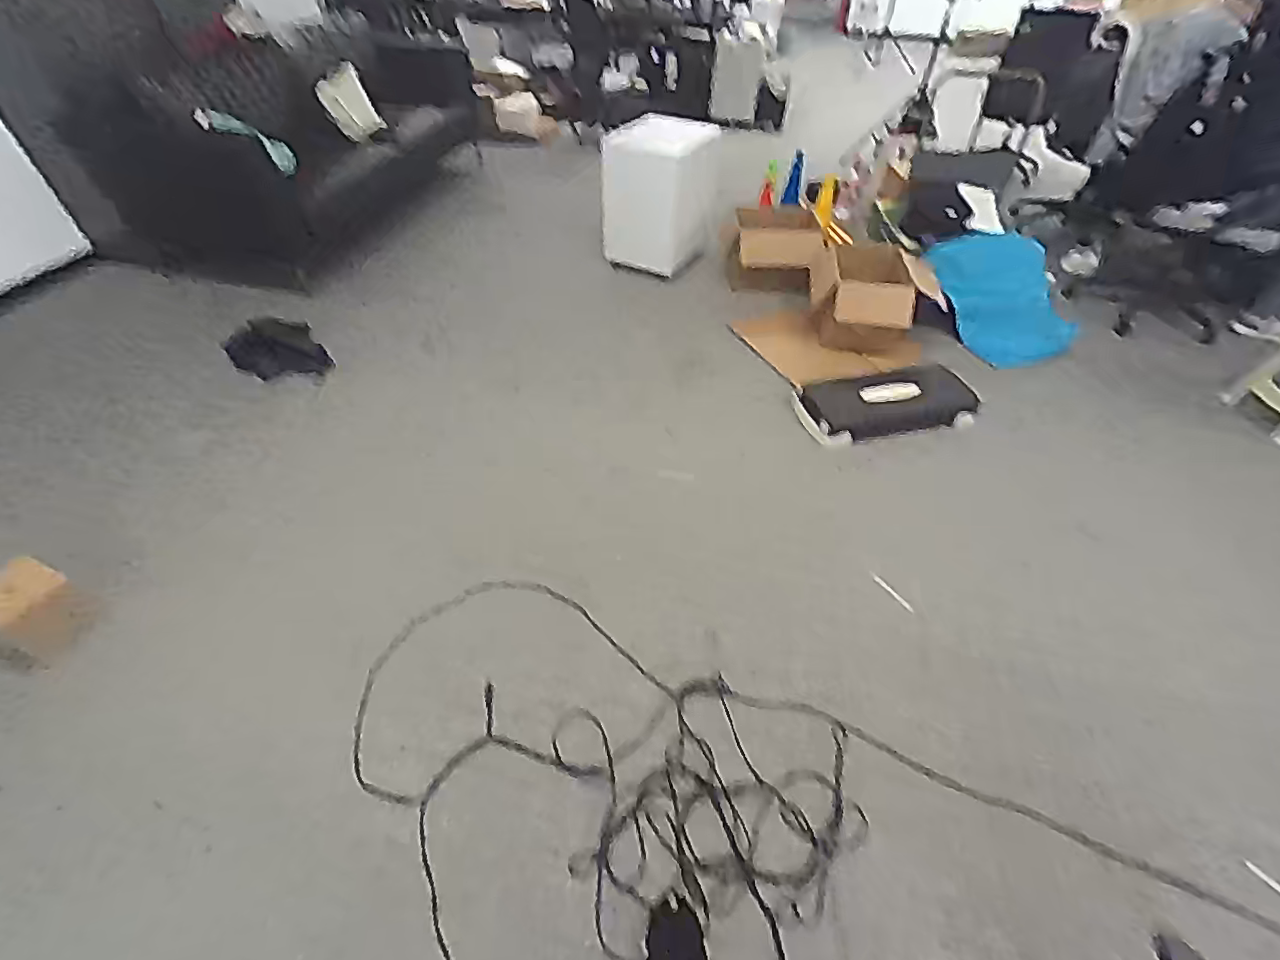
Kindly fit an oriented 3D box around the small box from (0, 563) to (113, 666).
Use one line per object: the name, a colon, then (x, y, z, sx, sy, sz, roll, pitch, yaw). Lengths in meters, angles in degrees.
small box: (-1.524, 0.347, 1.377, 0.179, 0.176, 0.168, 17, 46, 15)
